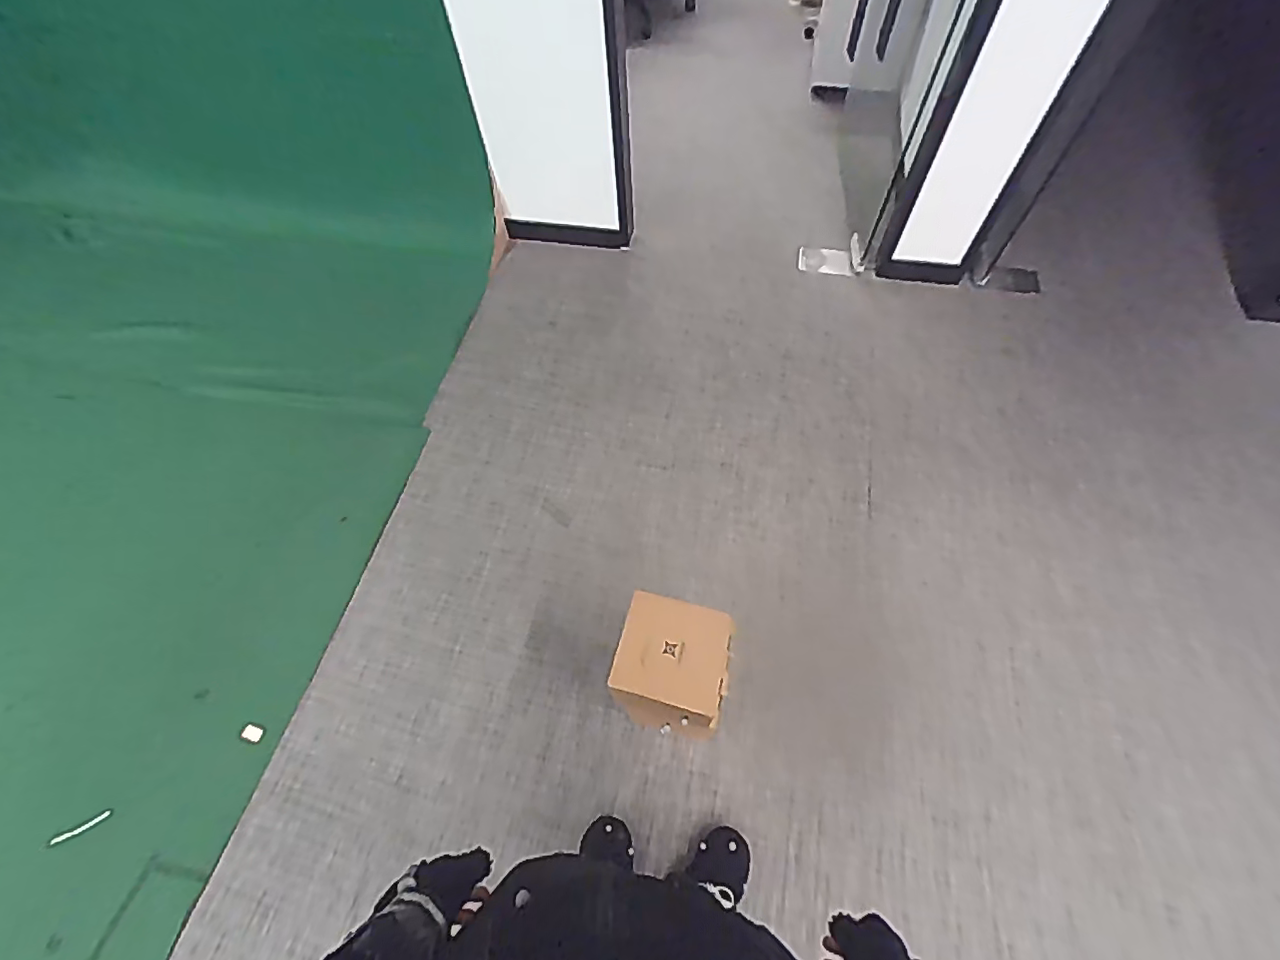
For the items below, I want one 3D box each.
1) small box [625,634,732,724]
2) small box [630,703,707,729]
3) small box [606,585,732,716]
[{"bbox_3d":[0.076,0.384,1.092,0.179,0.176,0.168,13,63,10],"label":"small box"},{"bbox_3d":[0.082,0.457,1.235,0.179,0.176,0.168,15,61,11],"label":"small box"},{"bbox_3d":[0.055,0.305,0.950,0.179,0.176,0.168,12,62,11],"label":"small box"}]
